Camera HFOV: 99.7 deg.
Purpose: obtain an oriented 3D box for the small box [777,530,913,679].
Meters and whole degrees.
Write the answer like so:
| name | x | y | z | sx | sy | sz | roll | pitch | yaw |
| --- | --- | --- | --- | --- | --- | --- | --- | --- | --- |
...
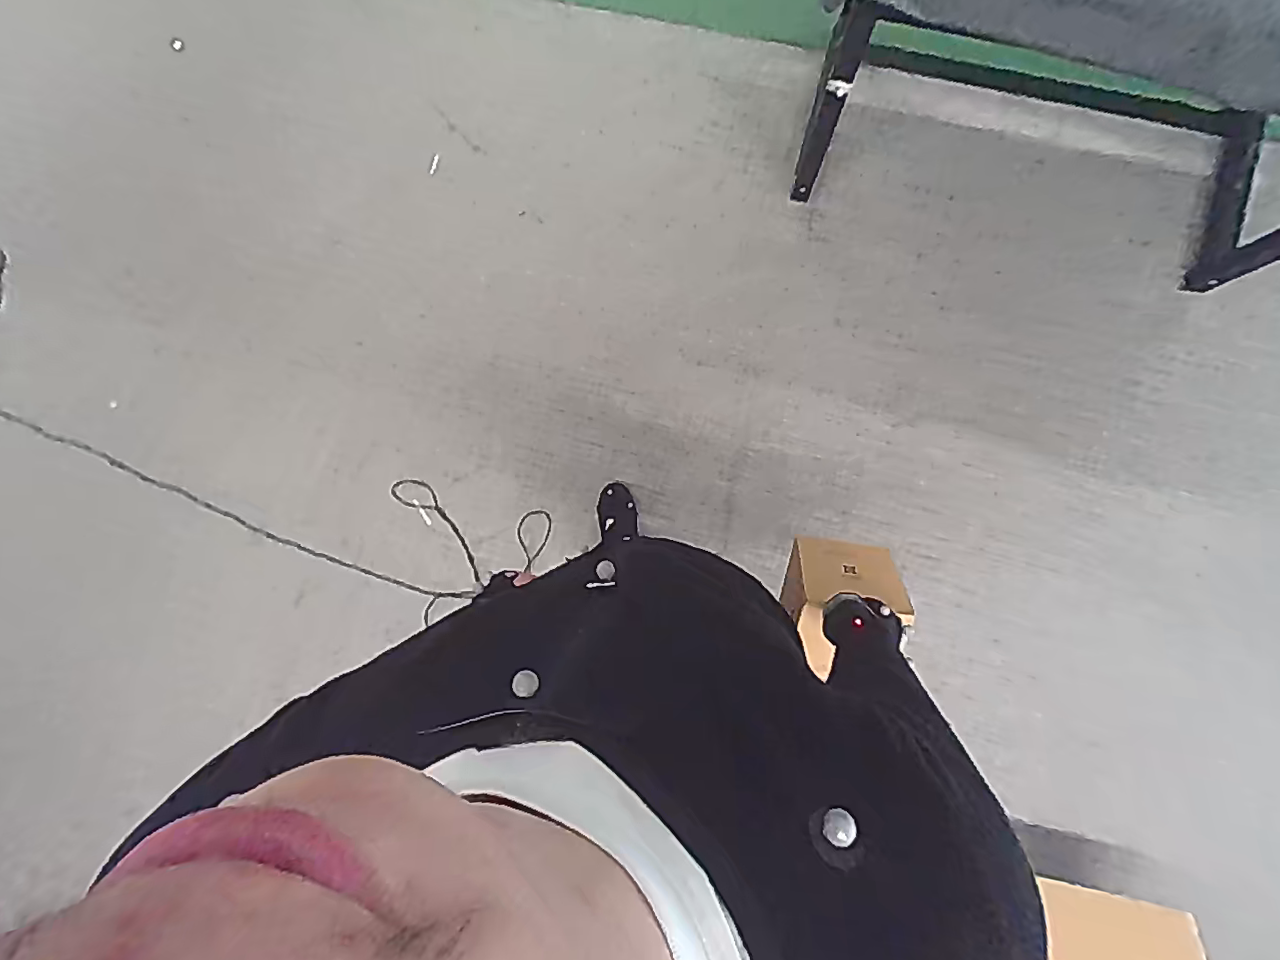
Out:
| name | x | y | z | sx | sy | sz | roll | pitch | yaw |
| --- | --- | --- | --- | --- | --- | --- | --- | --- | --- |
| small box | 0.339 | 0.213 | 0.931 | 0.168 | 0.179 | 0.176 | 9 | 119 | 5 |
